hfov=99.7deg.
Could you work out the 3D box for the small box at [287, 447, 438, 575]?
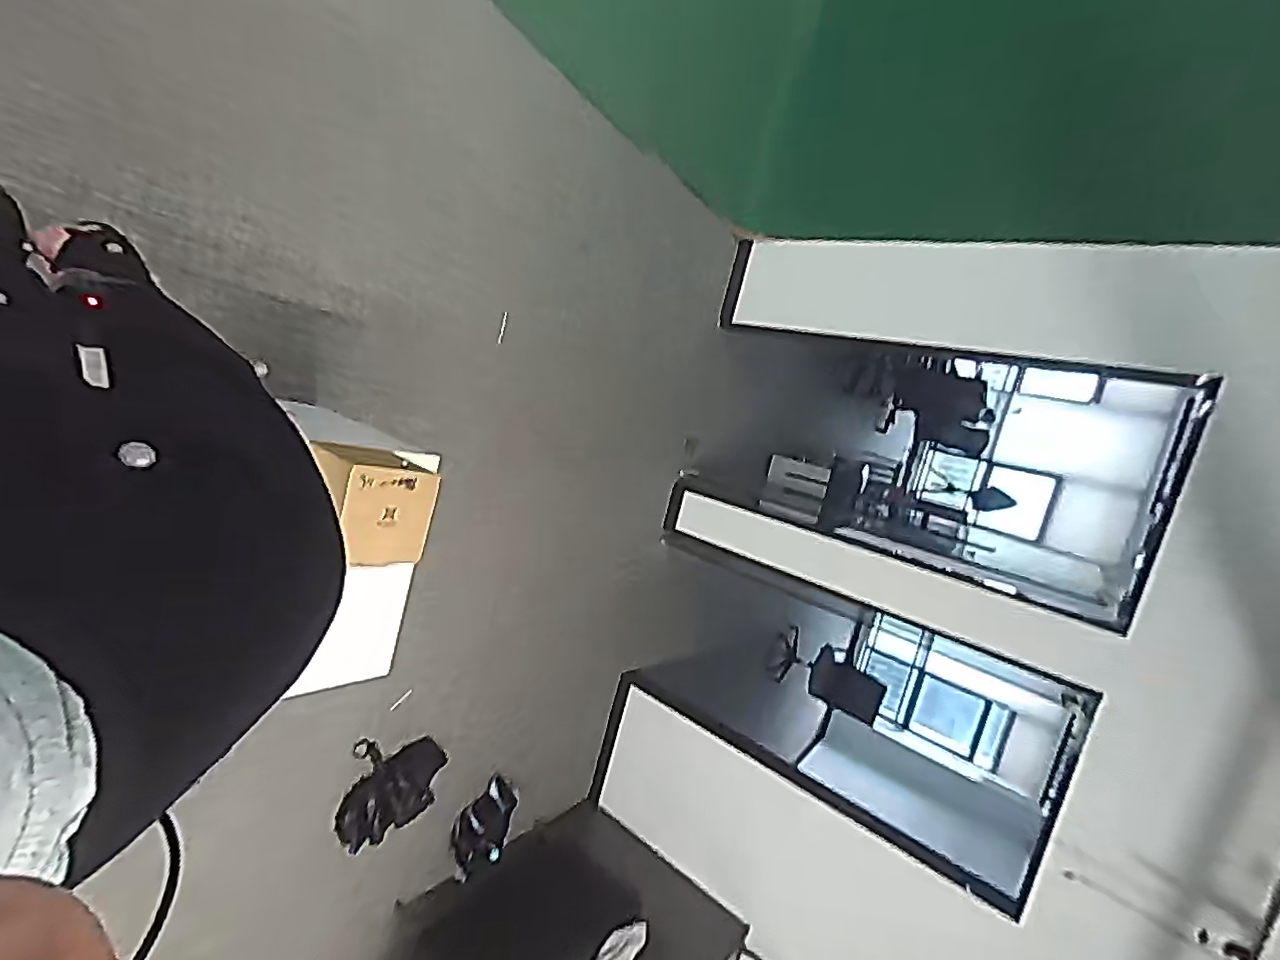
[{"bbox_3d":[-0.497,0.055,0.964,0.168,0.176,0.179,10,99,-56],"label":"small box"}]
